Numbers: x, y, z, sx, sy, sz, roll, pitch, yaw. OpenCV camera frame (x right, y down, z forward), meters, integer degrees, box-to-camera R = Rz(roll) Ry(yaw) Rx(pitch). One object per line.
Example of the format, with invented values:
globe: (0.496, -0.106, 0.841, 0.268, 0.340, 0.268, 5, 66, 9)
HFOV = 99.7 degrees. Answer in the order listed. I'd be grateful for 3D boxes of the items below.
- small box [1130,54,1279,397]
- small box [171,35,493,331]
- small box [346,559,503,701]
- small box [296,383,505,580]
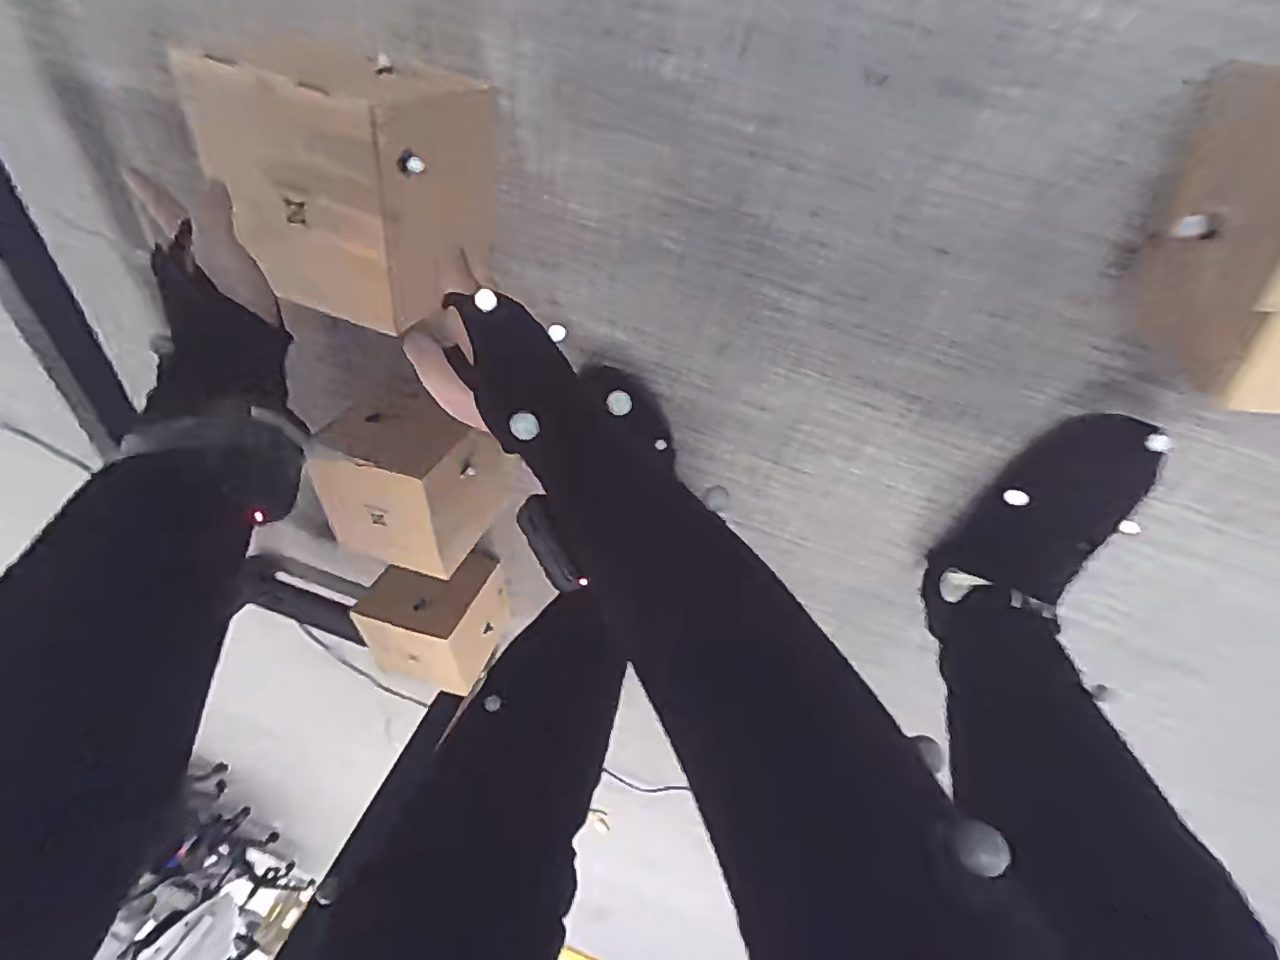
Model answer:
small box: (0.445, -0.156, 0.317, 0.179, 0.176, 0.168, 5, 128, 17)
small box: (-0.245, -0.266, 0.484, 0.168, 0.176, 0.179, 19, 130, 6)
small box: (-0.343, 0.234, 0.909, 0.179, 0.176, 0.168, 12, 130, 11)
small box: (-0.293, -0.005, 0.705, 0.168, 0.176, 0.179, 14, 130, 10)
